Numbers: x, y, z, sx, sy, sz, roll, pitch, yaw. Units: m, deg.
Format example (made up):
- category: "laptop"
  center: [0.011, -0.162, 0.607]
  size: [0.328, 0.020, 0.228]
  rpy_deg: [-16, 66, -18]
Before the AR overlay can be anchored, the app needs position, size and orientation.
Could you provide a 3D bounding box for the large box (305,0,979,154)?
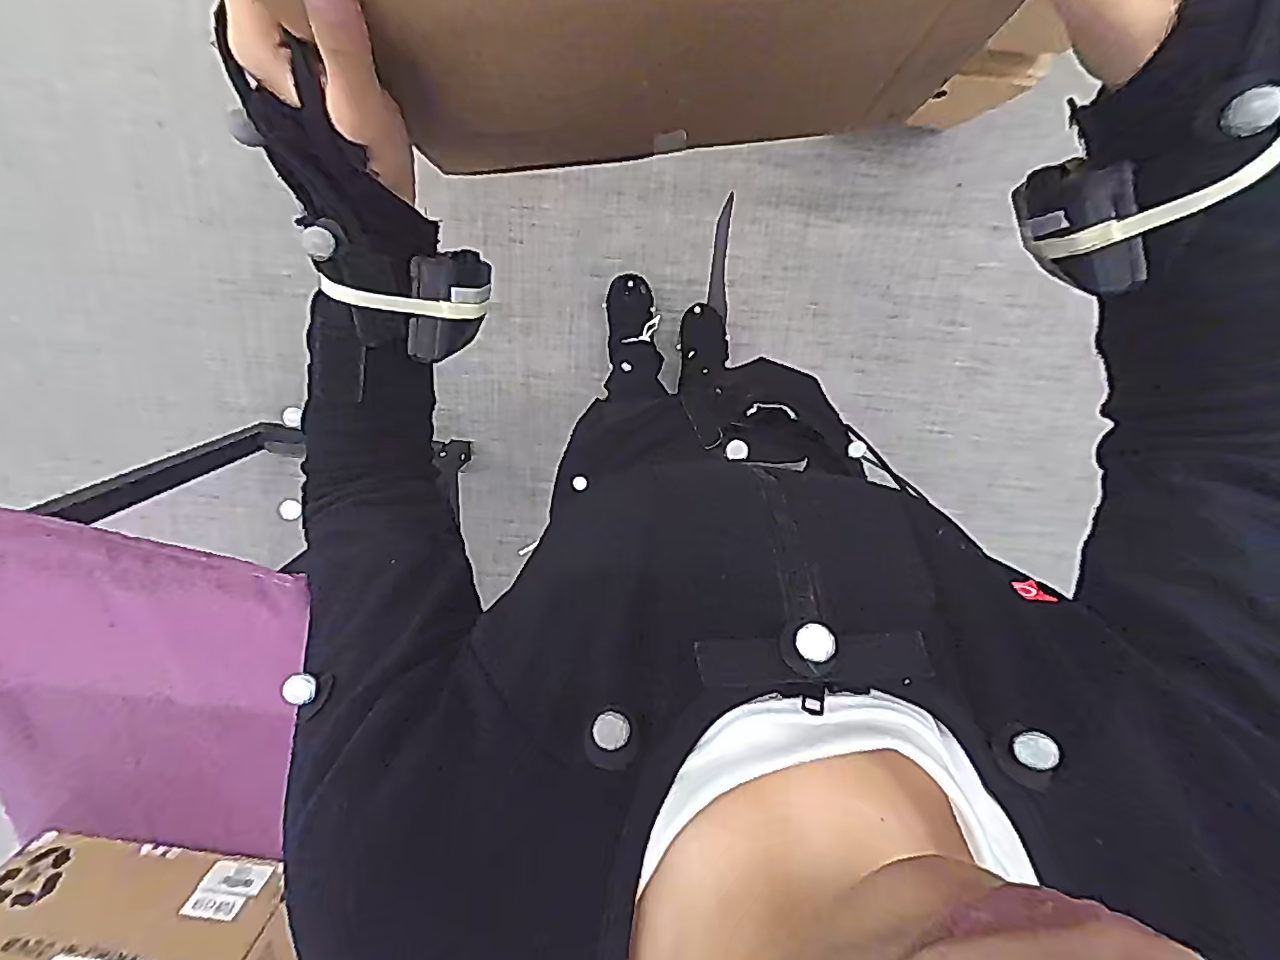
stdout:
- category: "large box"
  center: [-0.007, -0.397, 0.177]
  size: [0.320, 0.320, 0.408]
  rpy_deg: [-5, 101, 4]
